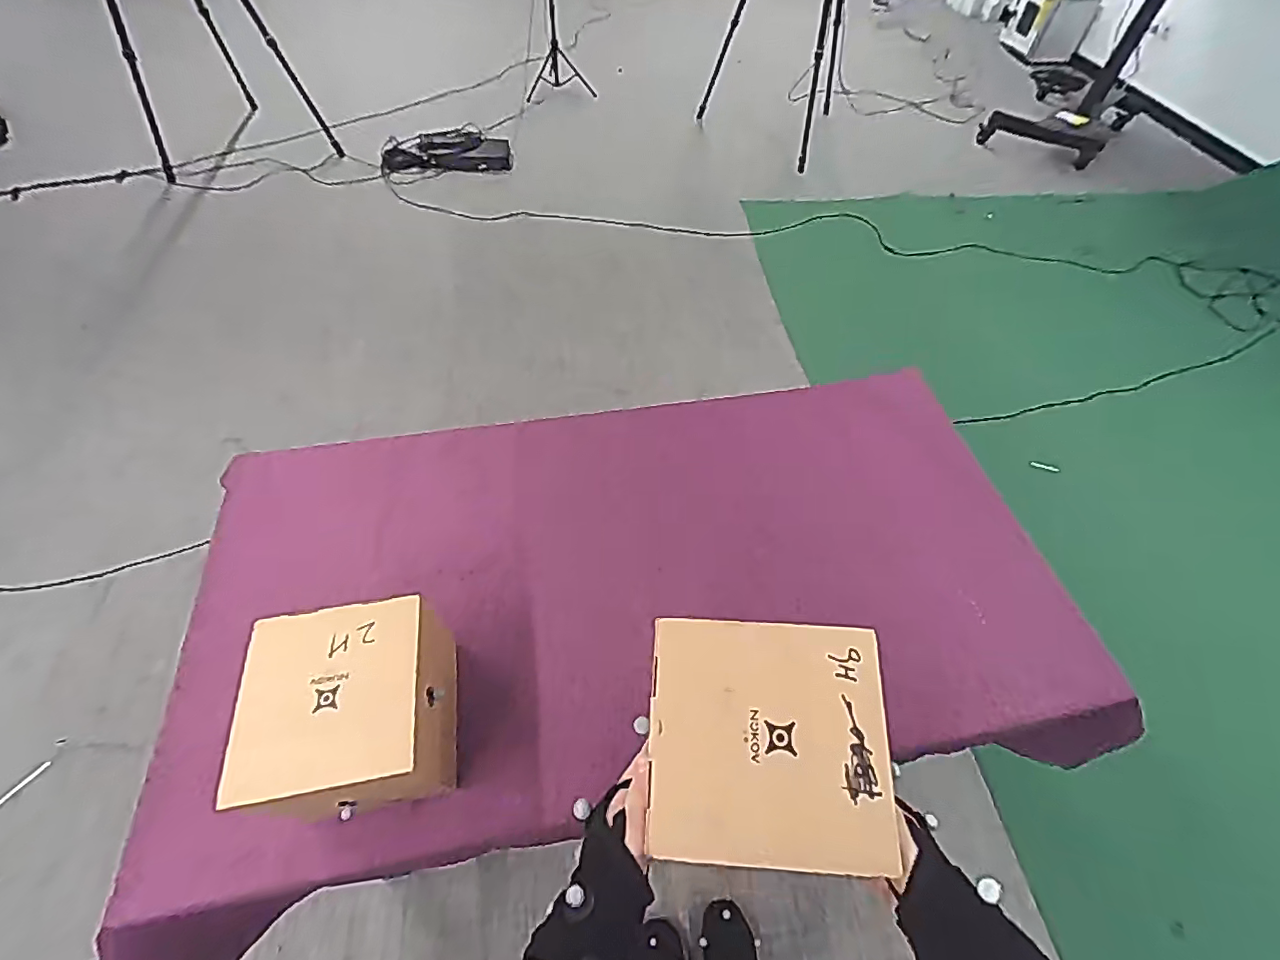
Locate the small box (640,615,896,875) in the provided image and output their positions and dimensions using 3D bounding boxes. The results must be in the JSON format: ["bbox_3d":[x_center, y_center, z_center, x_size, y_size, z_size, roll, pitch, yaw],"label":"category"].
[{"bbox_3d":[0.098,0.221,0.474,0.179,0.176,0.168,2,66,5],"label":"small box"}]

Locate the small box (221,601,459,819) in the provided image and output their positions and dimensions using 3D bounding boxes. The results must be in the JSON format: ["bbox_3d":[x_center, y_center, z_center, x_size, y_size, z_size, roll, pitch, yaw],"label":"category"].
[{"bbox_3d":[-0.300,0.255,0.588,0.168,0.176,0.179,-7,55,-8],"label":"small box"}]
